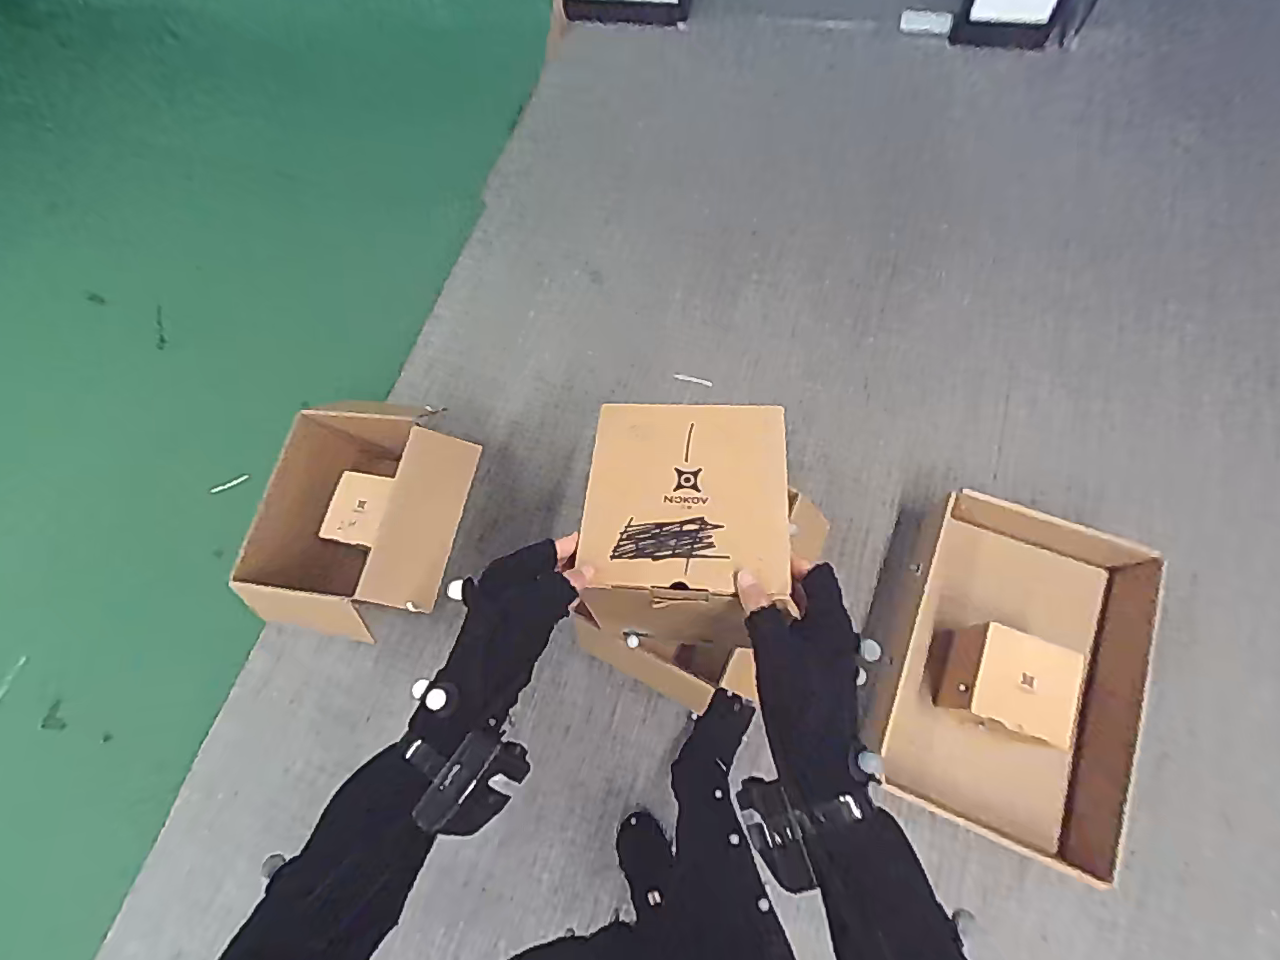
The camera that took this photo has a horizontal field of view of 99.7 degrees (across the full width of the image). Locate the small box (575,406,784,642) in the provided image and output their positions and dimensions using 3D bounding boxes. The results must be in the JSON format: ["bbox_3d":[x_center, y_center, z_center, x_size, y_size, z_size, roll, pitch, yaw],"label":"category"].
[{"bbox_3d":[0.047,0.048,0.521,0.168,0.176,0.179,2,60,8],"label":"small box"}]

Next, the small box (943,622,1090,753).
[{"bbox_3d":[0.717,0.396,1.047,0.168,0.176,0.179,19,74,14],"label":"small box"}]
